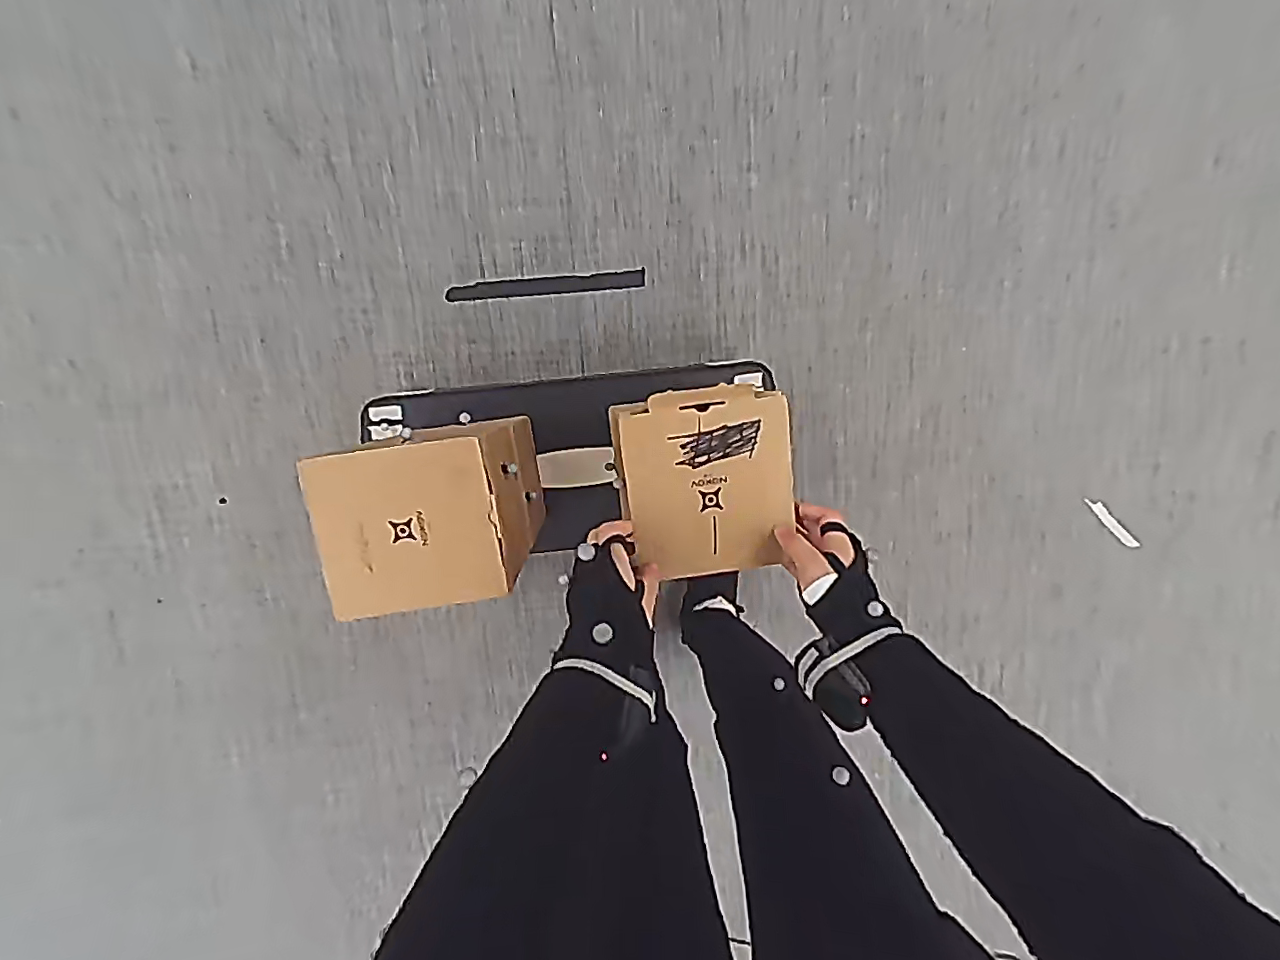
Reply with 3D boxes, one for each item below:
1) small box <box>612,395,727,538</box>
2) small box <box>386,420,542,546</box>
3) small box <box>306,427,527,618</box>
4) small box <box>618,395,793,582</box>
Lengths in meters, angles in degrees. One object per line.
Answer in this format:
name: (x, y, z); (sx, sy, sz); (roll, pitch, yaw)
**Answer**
small box: (0.048, -0.028, 0.786); (0.168, 0.176, 0.179); (-6, 100, -1)
small box: (-0.241, 0.004, 0.776); (0.179, 0.176, 0.168); (-8, 101, -3)
small box: (-0.231, 0.035, 0.614); (0.179, 0.176, 0.168); (-9, 100, -2)
small box: (0.065, -0.003, 0.624); (0.168, 0.176, 0.179); (-8, 101, -1)
